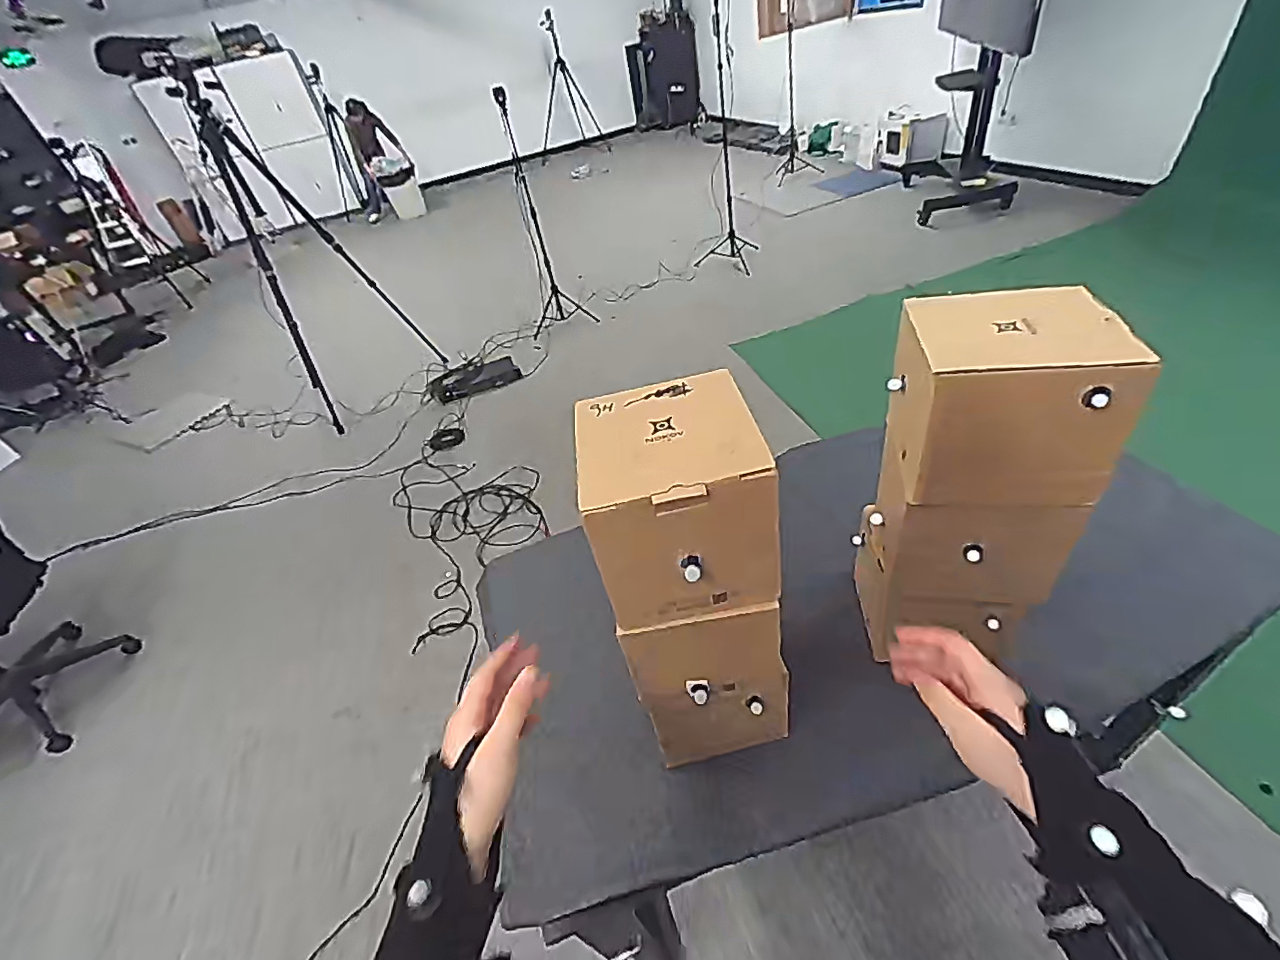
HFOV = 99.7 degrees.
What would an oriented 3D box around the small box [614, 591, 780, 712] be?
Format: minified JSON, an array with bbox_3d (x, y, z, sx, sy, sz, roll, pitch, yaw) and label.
[{"bbox_3d":[0.064,0.146,0.647,0.168,0.176,0.179,-12,41,4],"label":"small box"}]

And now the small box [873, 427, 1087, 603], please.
[{"bbox_3d":[0.401,0.037,0.677,0.179,0.176,0.168,1,41,16],"label":"small box"}]

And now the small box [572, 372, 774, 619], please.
[{"bbox_3d":[0.033,0.021,0.546,0.168,0.176,0.179,-12,41,3],"label":"small box"}]

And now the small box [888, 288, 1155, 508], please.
[{"bbox_3d":[0.370,-0.084,0.573,0.179,0.176,0.168,0,41,14],"label":"small box"}]

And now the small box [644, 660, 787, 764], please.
[{"bbox_3d":[0.092,0.265,0.755,0.179,0.176,0.168,-14,40,-1],"label":"small box"}]
